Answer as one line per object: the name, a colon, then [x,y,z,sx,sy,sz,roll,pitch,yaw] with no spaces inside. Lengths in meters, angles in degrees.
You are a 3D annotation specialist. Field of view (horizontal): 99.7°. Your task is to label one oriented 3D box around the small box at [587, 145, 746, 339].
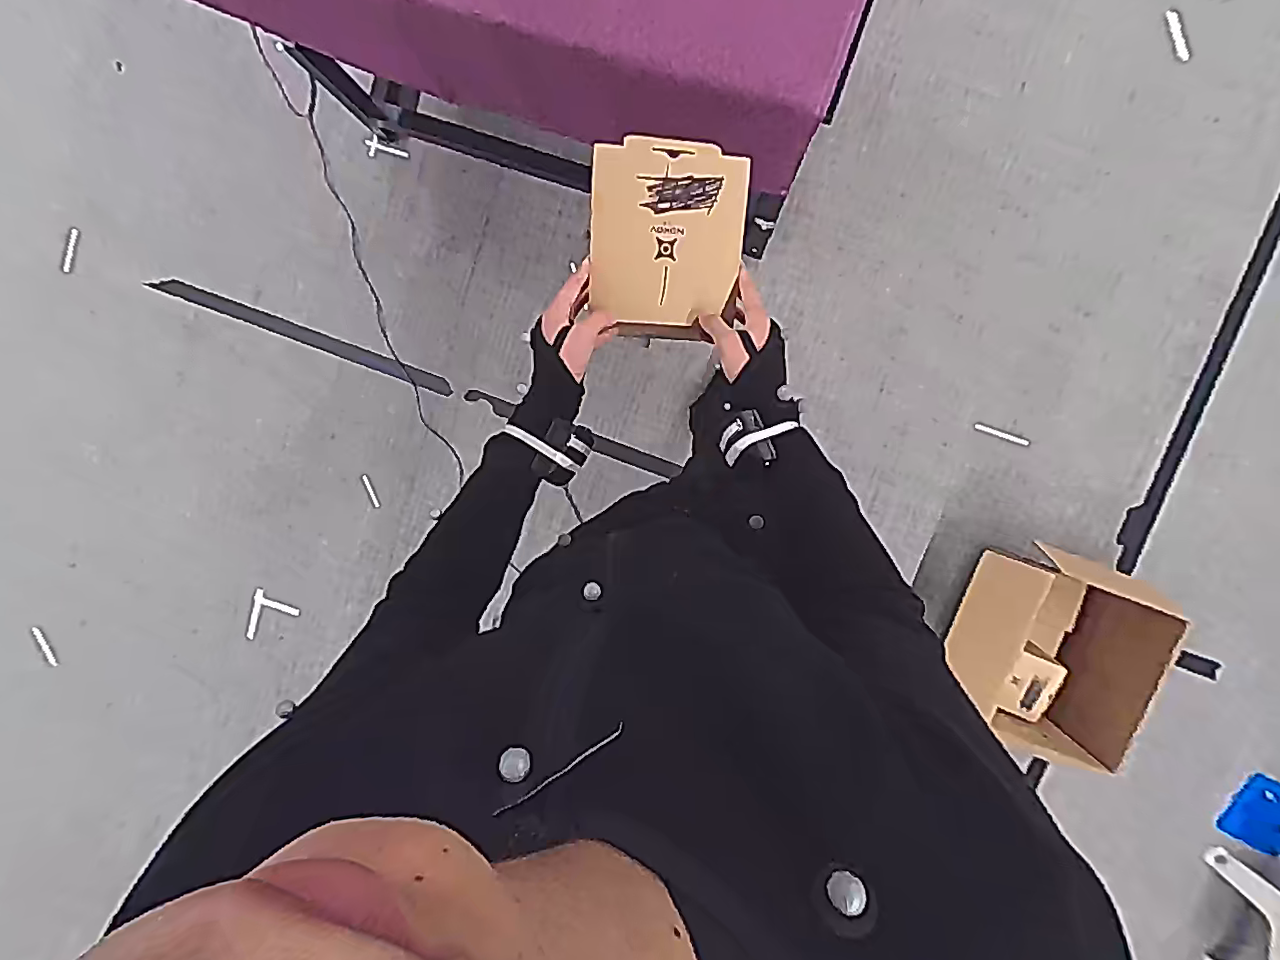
small box: [0.021,-0.274,0.663,0.168,0.176,0.179,2,100,-6]
